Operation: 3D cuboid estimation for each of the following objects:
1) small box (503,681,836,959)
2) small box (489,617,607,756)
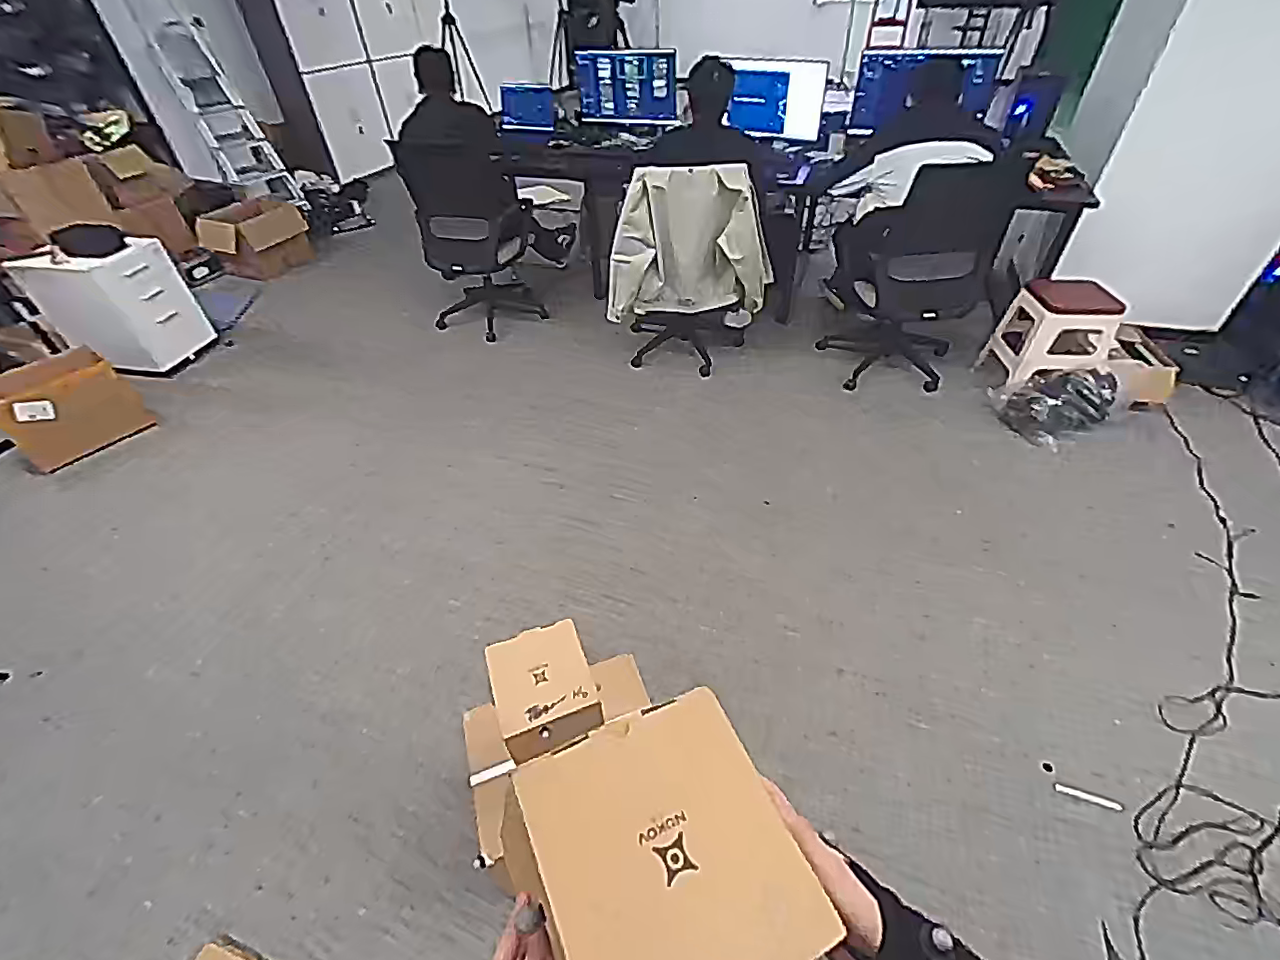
[{"bbox_3d":[0.002,0.290,0.406,0.168,0.176,0.179,-12,49,-26],"label":"small box"},{"bbox_3d":[-0.163,0.388,0.982,0.168,0.176,0.179,-17,44,-14],"label":"small box"}]
